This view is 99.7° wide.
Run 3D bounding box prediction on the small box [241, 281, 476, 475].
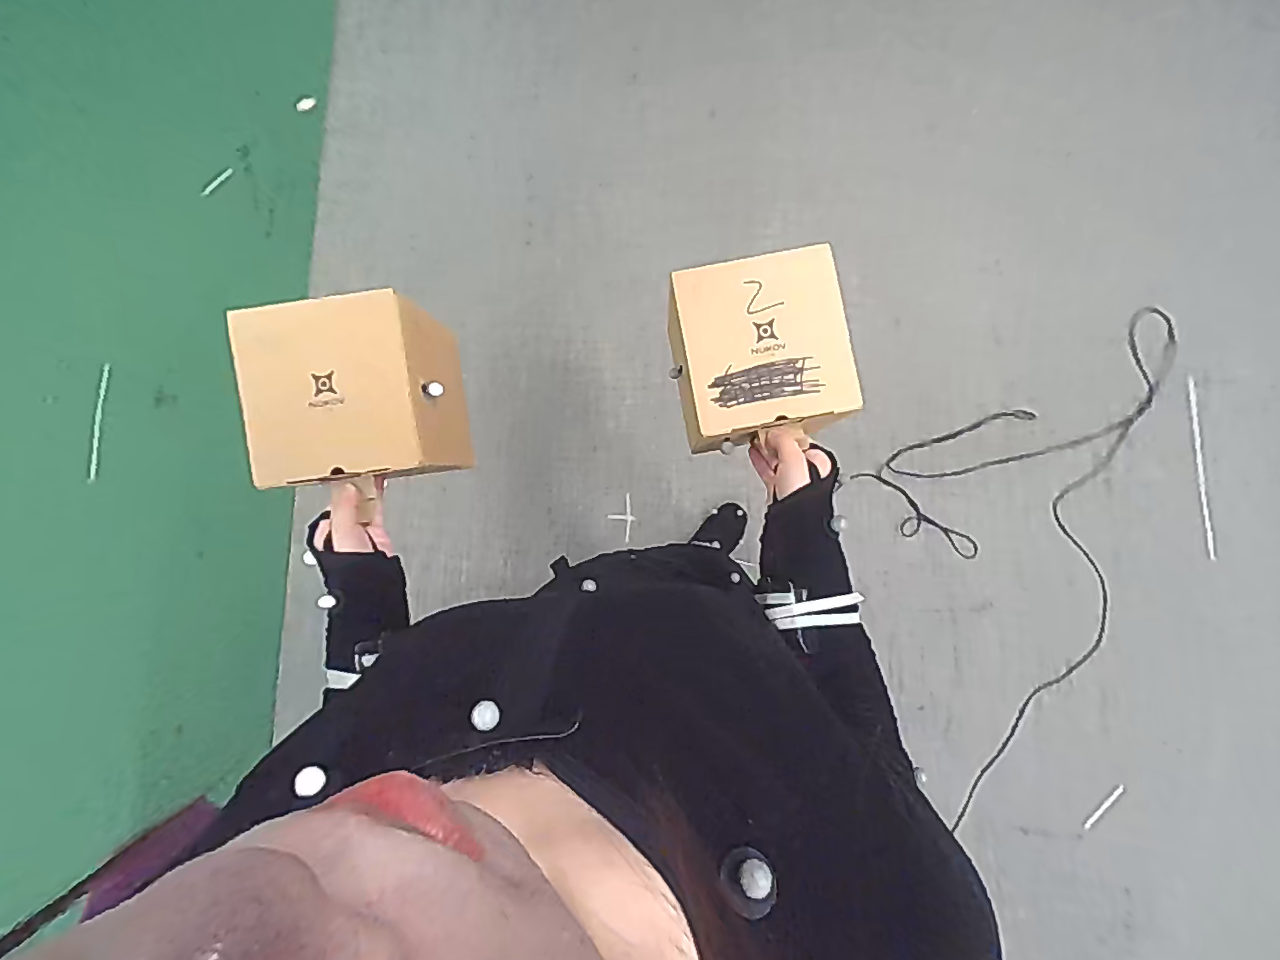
[{"bbox_3d":[-0.293,-0.100,0.600,0.168,0.176,0.179,-6,93,0],"label":"small box"}]
